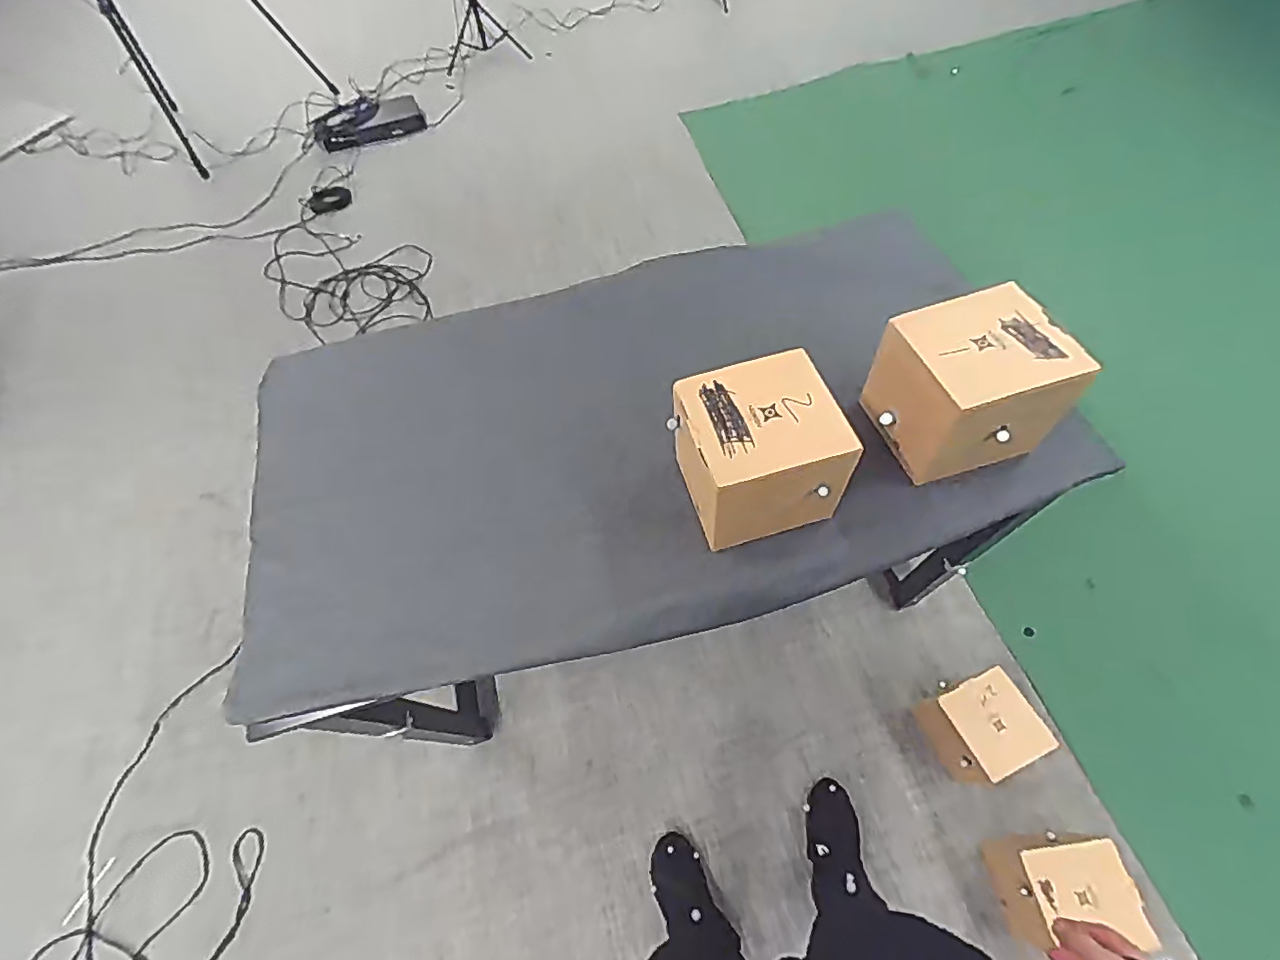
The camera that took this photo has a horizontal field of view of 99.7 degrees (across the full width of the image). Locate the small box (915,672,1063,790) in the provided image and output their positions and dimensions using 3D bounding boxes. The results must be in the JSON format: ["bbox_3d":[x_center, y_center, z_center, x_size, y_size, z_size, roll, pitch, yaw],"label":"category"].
[{"bbox_3d":[0.739,0.542,1.169,0.168,0.176,0.179,-23,62,-8],"label":"small box"}]

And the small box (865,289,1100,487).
[{"bbox_3d":[0.431,-0.116,0.719,0.179,0.176,0.168,-16,57,-2],"label":"small box"}]

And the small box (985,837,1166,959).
[{"bbox_3d":[0.808,0.792,1.026,0.179,0.176,0.168,-9,62,1],"label":"small box"}]
